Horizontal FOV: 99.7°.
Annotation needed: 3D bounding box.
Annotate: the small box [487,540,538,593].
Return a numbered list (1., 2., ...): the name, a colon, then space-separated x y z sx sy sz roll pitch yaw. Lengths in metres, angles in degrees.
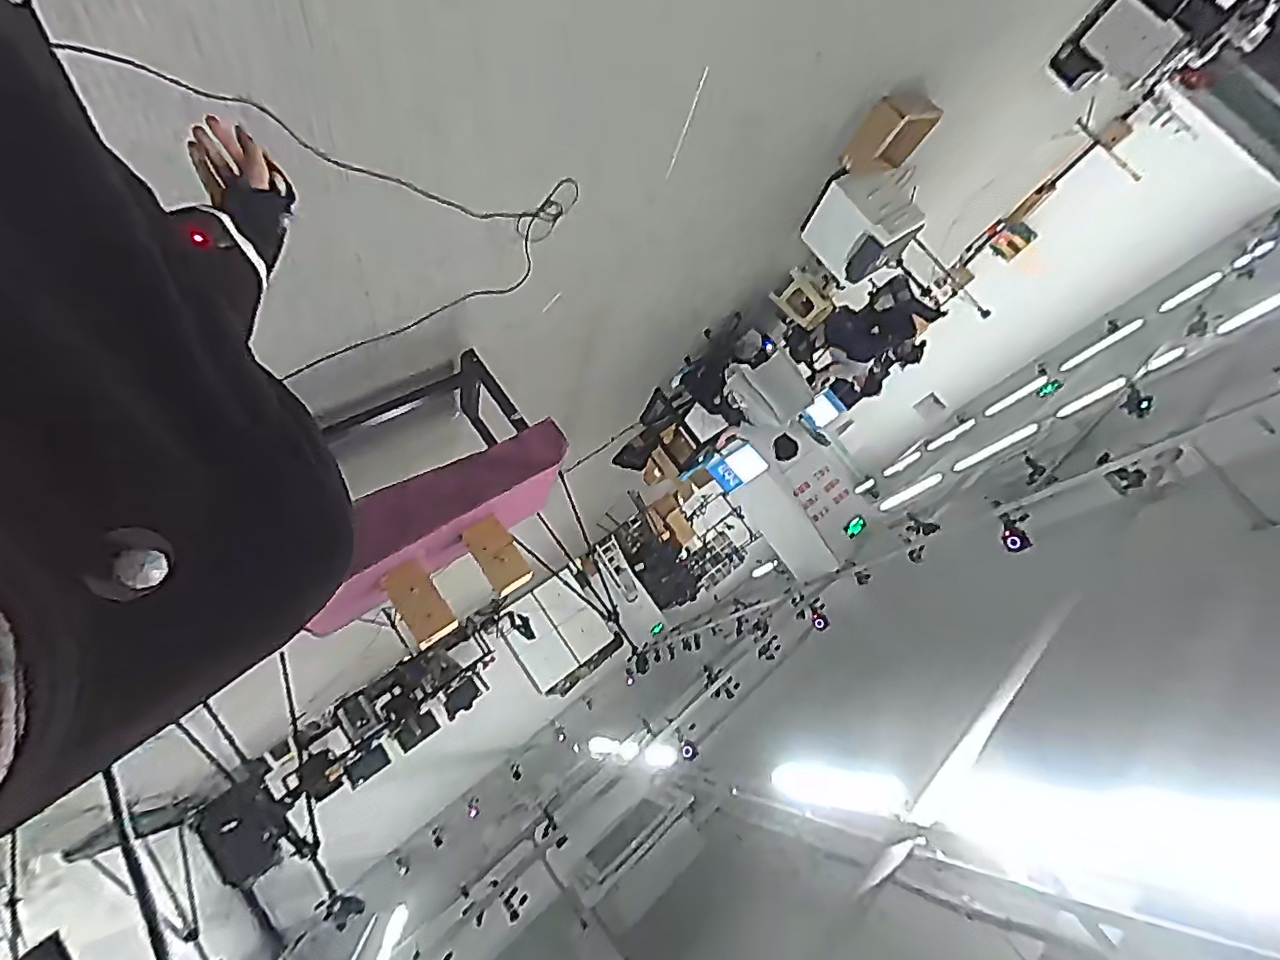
1. small box: -0.599 0.400 2.521 0.168 0.176 0.179 -32 170 -25

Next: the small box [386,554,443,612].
1. small box: -0.982 0.447 2.364 0.179 0.176 0.168 -31 168 -27

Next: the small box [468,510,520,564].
1. small box: -0.689 0.264 2.547 0.179 0.176 0.168 -31 169 -25

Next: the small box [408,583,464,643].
1. small box: -0.885 0.577 2.339 0.179 0.176 0.168 -33 169 -27
